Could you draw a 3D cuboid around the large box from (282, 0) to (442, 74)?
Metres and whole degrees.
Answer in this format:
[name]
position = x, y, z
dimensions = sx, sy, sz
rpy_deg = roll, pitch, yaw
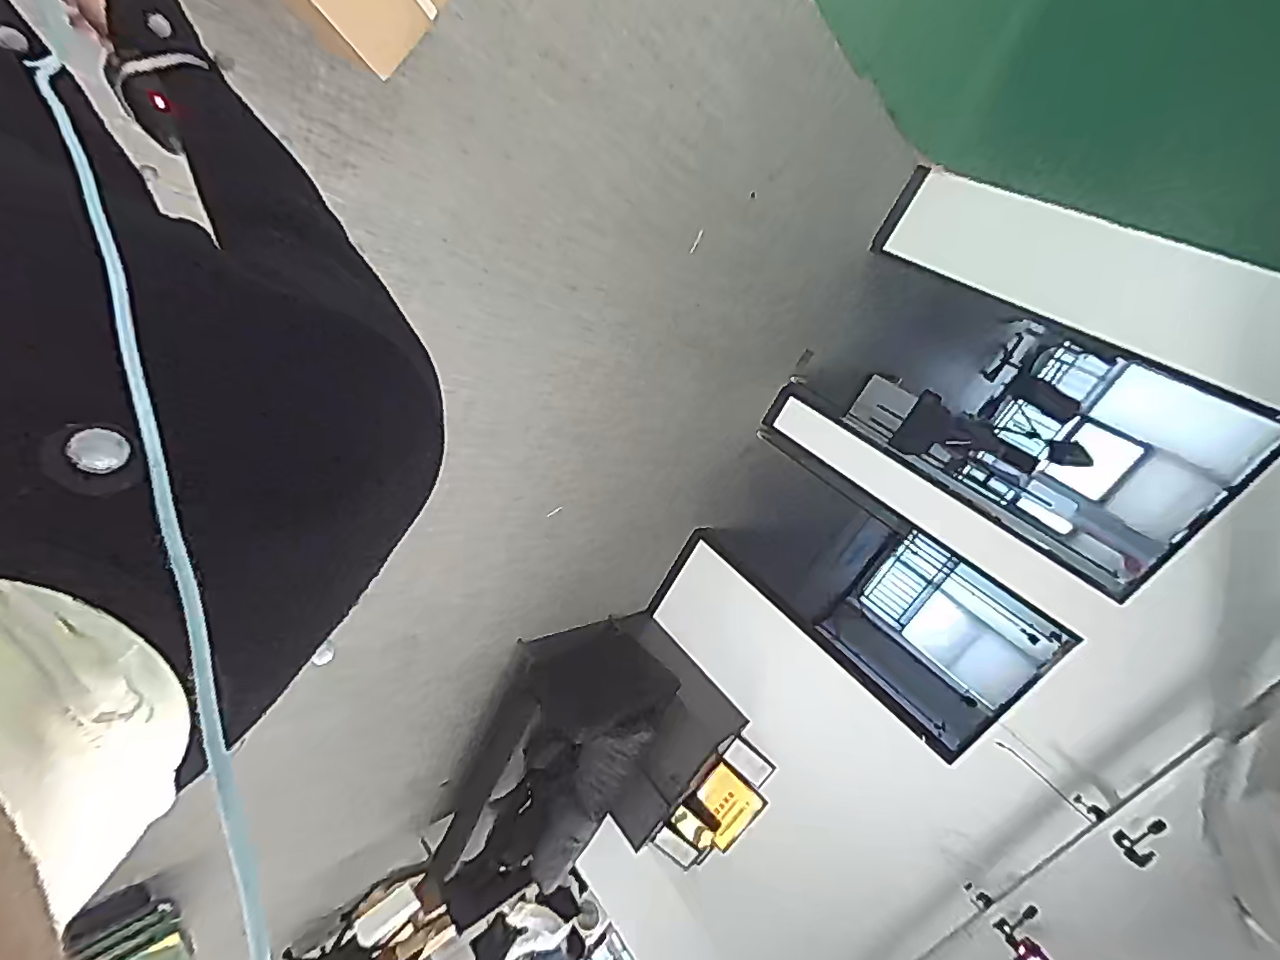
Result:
[large box]
position = -0.577, -1.035, 0.939
dimensions = 0.320, 0.320, 0.408
rpy_deg = -49, 149, 4
